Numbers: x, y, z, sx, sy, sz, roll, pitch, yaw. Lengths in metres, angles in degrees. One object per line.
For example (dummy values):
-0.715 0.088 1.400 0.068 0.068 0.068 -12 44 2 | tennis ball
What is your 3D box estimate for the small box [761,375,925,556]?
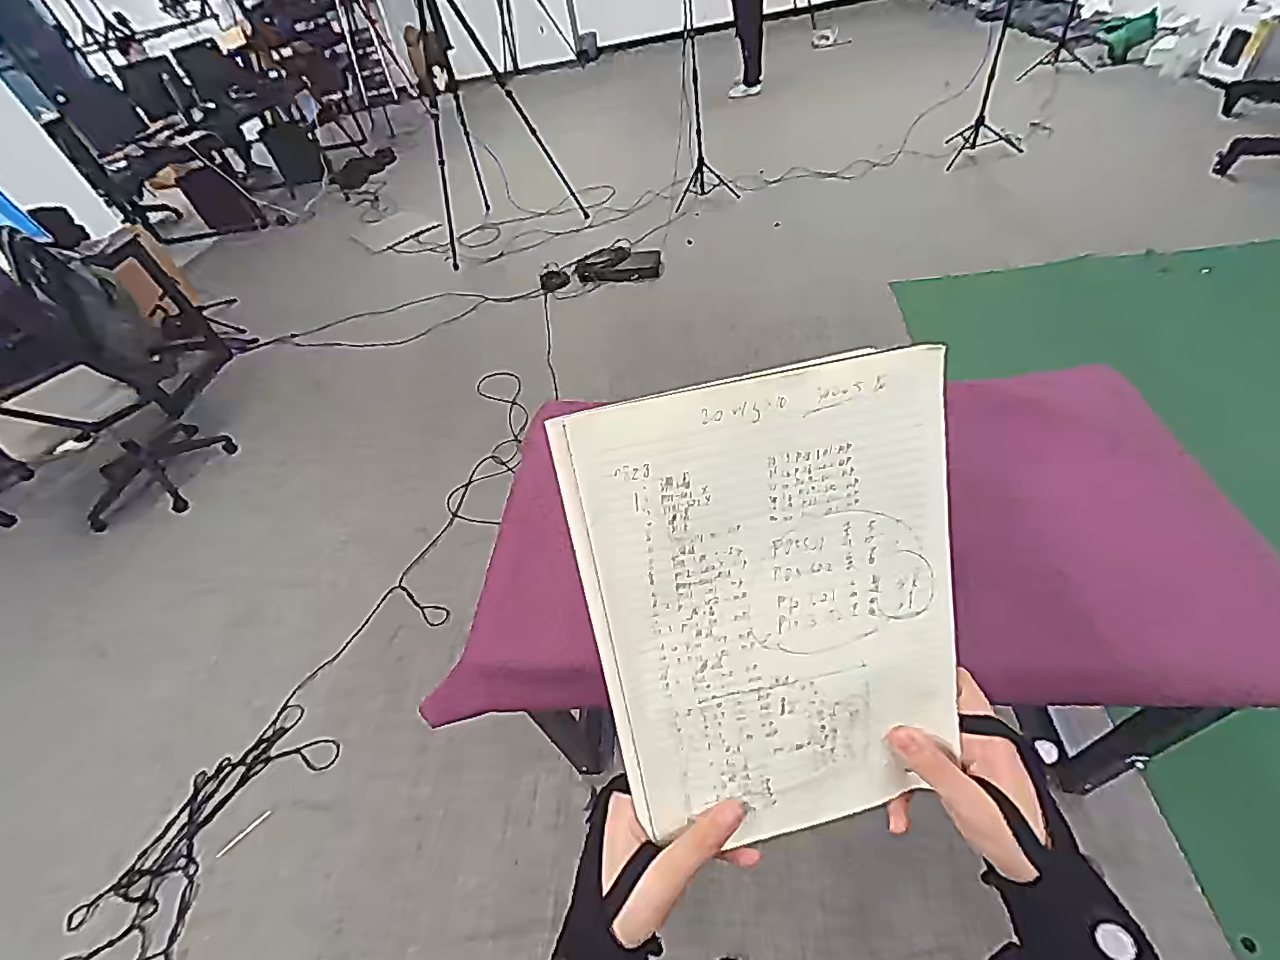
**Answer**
0.249 -0.012 0.707 0.168 0.176 0.179 -3 46 10 | small box
